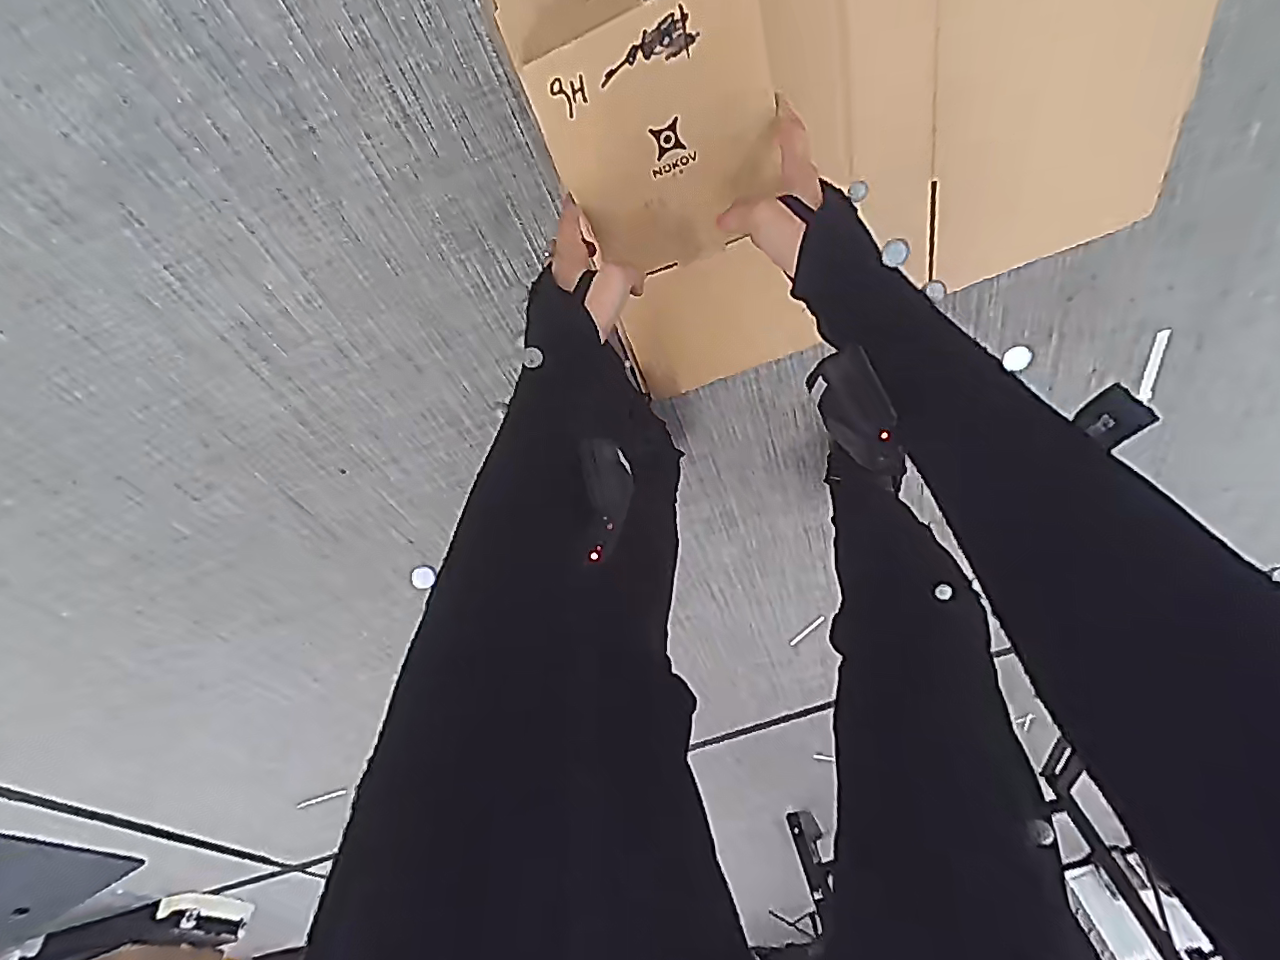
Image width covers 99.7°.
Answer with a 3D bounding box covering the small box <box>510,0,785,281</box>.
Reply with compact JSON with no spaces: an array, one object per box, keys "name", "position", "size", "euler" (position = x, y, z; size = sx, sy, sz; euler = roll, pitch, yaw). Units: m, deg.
[{"name":"small box","position":[0.010,-0.310,0.458],"size":[0.168,0.176,0.179],"euler":[-18,137,11]}]
